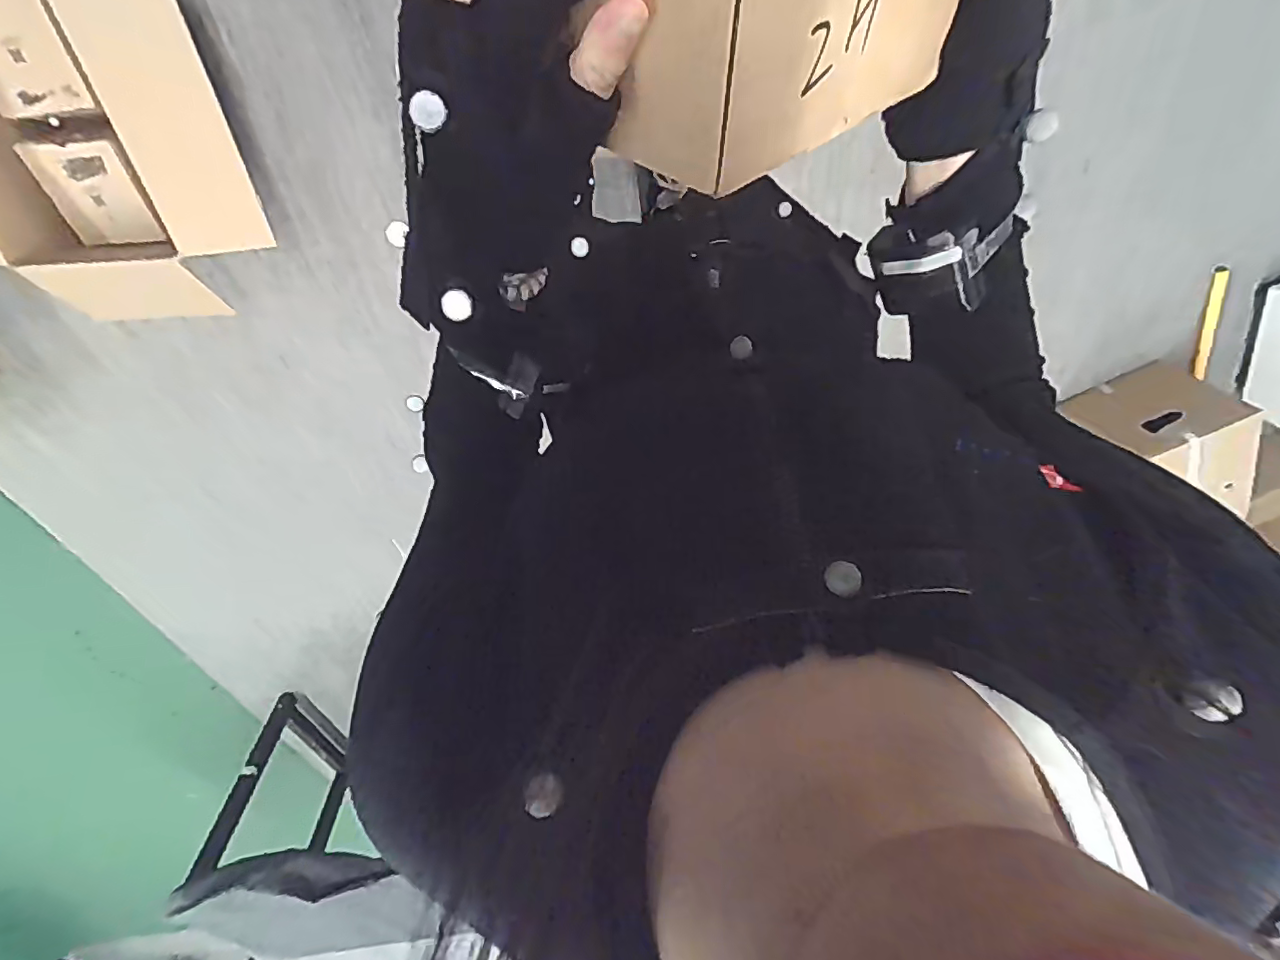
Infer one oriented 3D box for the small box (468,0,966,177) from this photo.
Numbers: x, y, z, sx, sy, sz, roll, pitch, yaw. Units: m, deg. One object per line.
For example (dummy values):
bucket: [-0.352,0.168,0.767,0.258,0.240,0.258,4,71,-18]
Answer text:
small box: [0.032,-0.254,0.205,0.168,0.176,0.179,-38,151,-24]
